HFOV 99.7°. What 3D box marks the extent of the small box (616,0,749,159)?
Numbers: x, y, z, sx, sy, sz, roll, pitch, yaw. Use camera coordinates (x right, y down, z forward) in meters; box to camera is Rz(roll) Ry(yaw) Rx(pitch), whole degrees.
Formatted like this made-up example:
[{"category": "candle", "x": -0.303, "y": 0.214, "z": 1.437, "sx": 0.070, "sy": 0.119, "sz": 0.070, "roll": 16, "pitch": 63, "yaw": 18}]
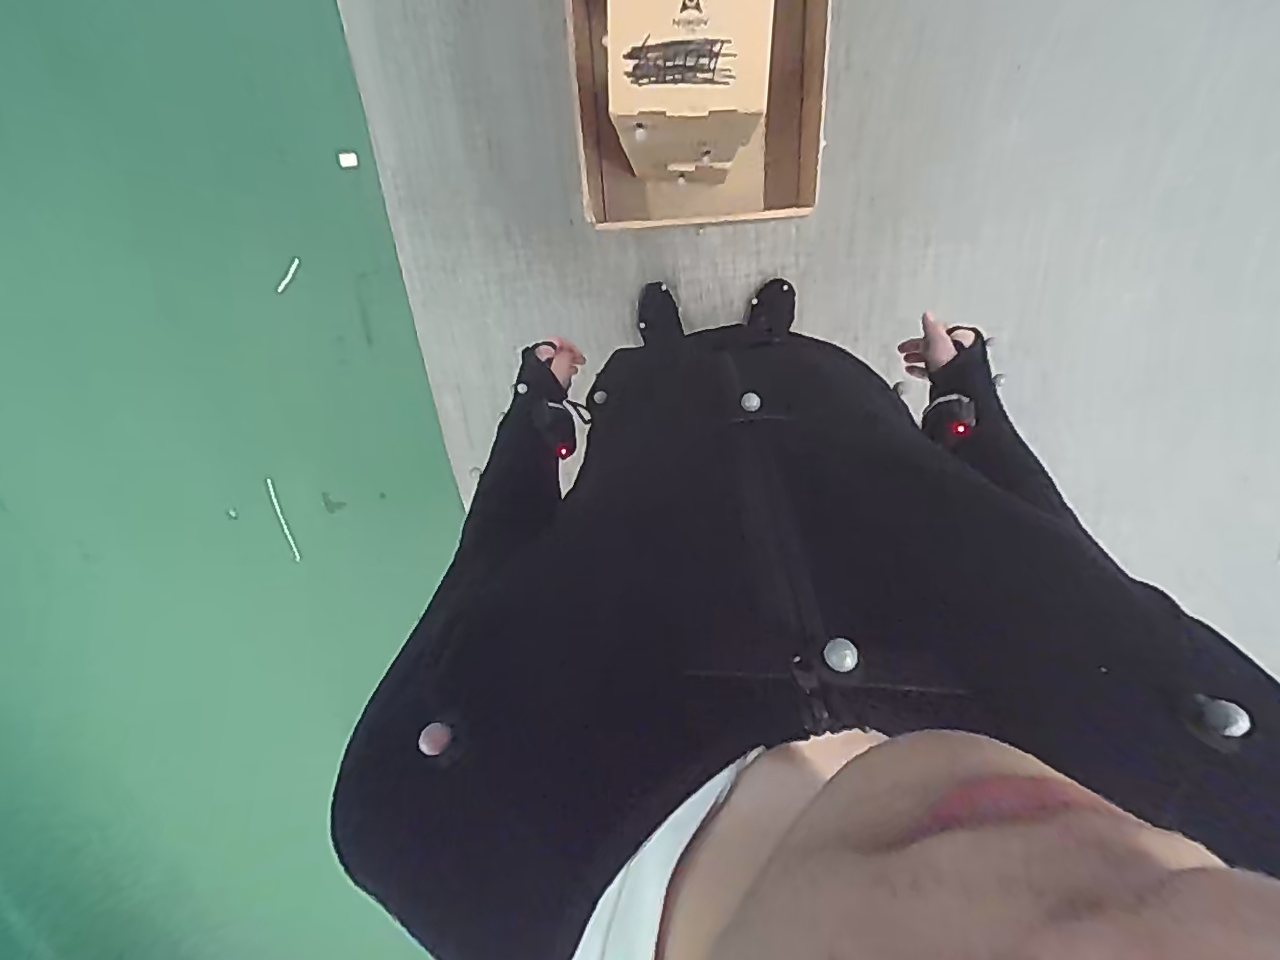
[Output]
[{"category": "small box", "x": 0.057, "y": -0.562, "z": 0.758, "sx": 0.168, "sy": 0.176, "sz": 0.179, "roll": 2, "pitch": 111, "yaw": 3}]
